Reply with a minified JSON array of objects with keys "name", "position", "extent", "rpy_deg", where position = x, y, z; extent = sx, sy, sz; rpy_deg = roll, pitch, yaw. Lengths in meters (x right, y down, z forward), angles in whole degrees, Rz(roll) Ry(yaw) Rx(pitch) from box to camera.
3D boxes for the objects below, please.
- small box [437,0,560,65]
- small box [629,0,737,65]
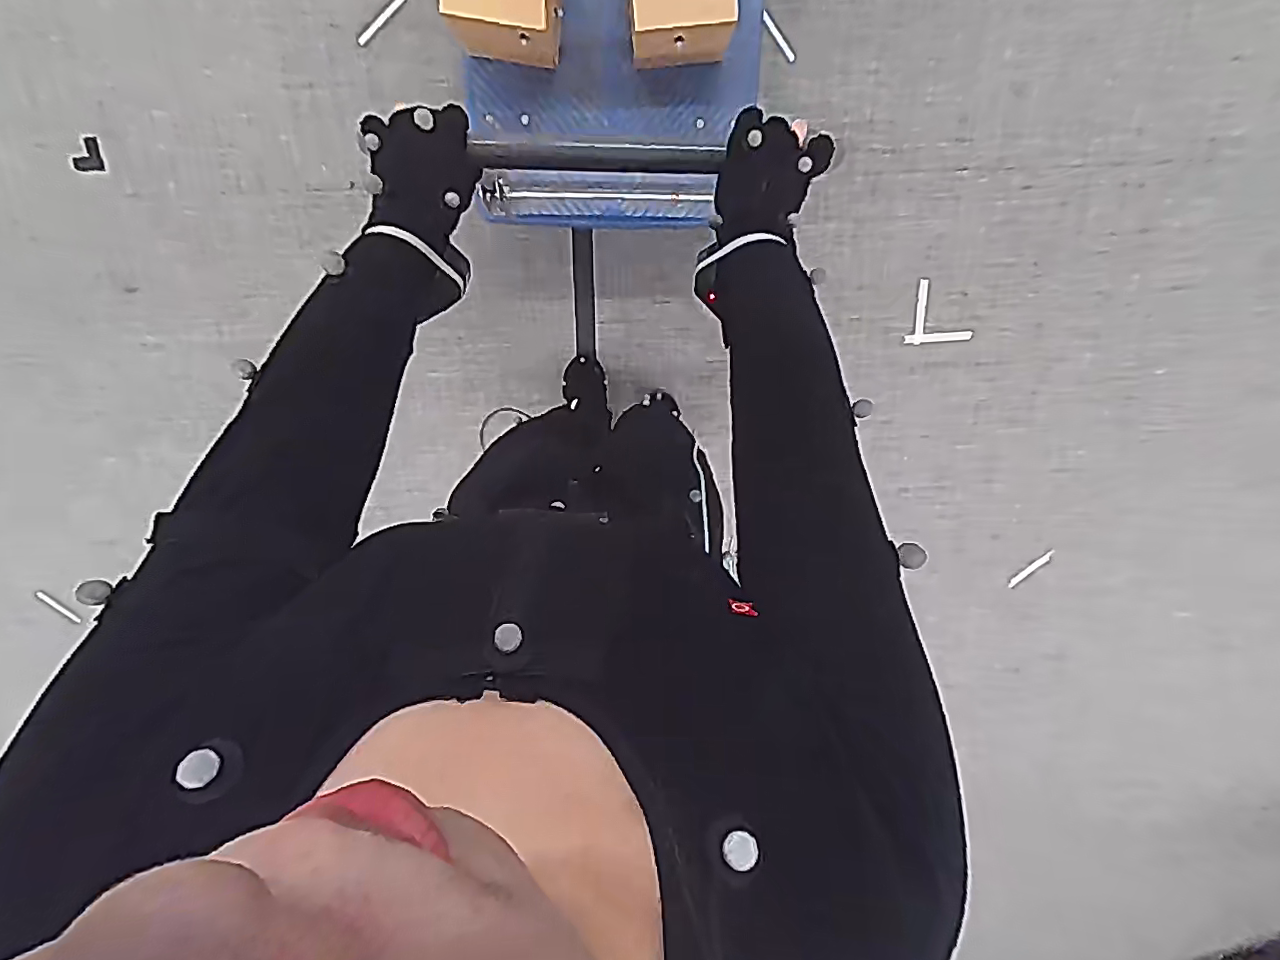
[{"name":"small box","position":[-0.237,-0.852,0.934],"extent":[0.179,0.176,0.168],"rpy_deg":[6,109,-5]},{"name":"small box","position":[0.067,-0.852,0.939],"extent":[0.179,0.176,0.168],"rpy_deg":[-5,110,1]}]
